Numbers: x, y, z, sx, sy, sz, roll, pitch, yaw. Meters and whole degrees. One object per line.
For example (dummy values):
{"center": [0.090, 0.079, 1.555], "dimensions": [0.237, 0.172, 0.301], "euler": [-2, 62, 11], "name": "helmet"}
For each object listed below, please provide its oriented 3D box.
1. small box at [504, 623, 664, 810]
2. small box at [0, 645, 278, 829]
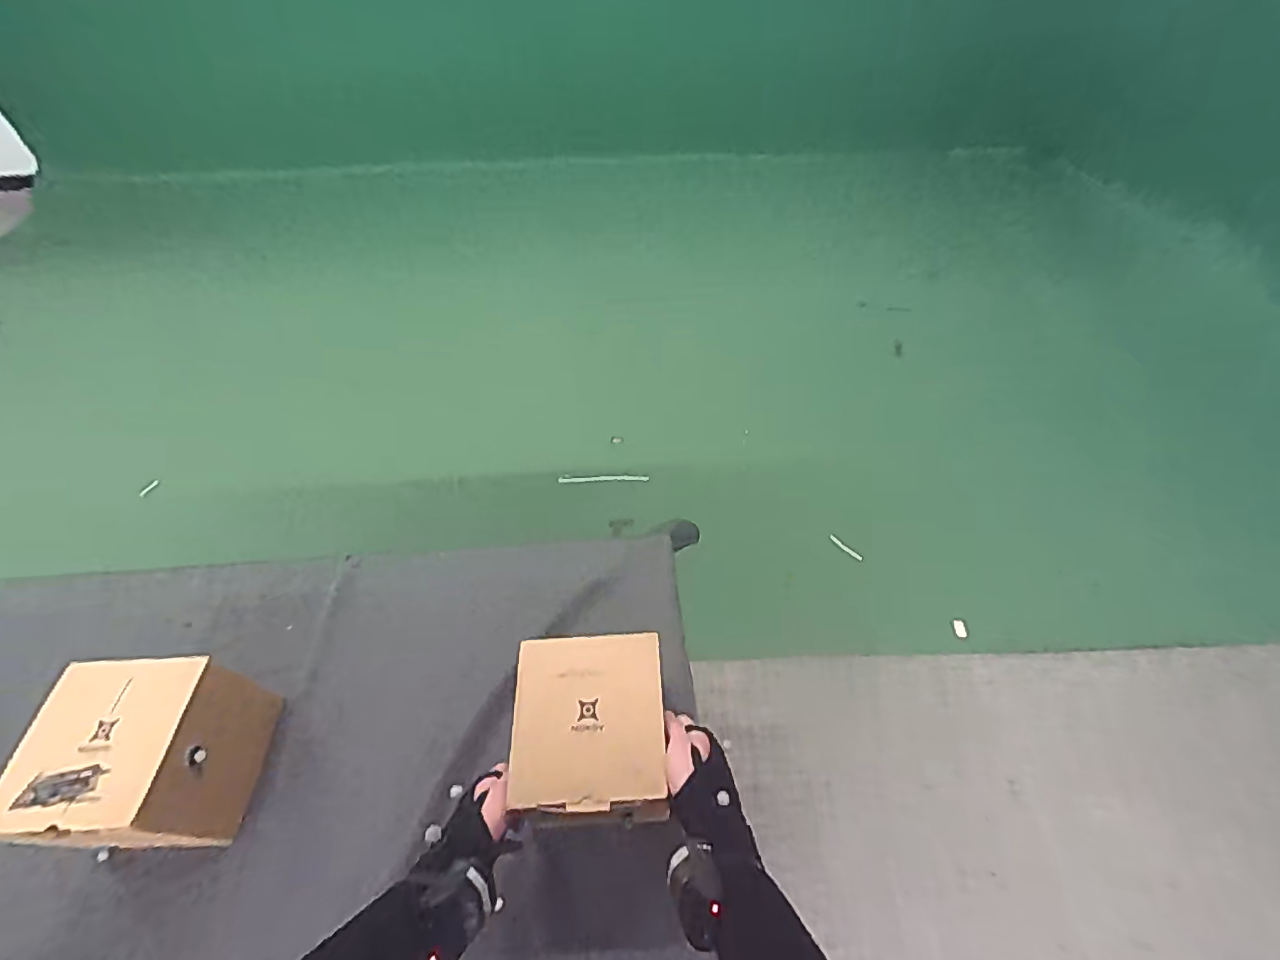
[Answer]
{"center": [-0.057, 0.290, 0.651], "dimensions": [0.168, 0.176, 0.179], "euler": [-3, 53, -1], "name": "small box"}
{"center": [-0.582, 0.314, 0.651], "dimensions": [0.168, 0.176, 0.179], "euler": [-2, 53, 0], "name": "small box"}
